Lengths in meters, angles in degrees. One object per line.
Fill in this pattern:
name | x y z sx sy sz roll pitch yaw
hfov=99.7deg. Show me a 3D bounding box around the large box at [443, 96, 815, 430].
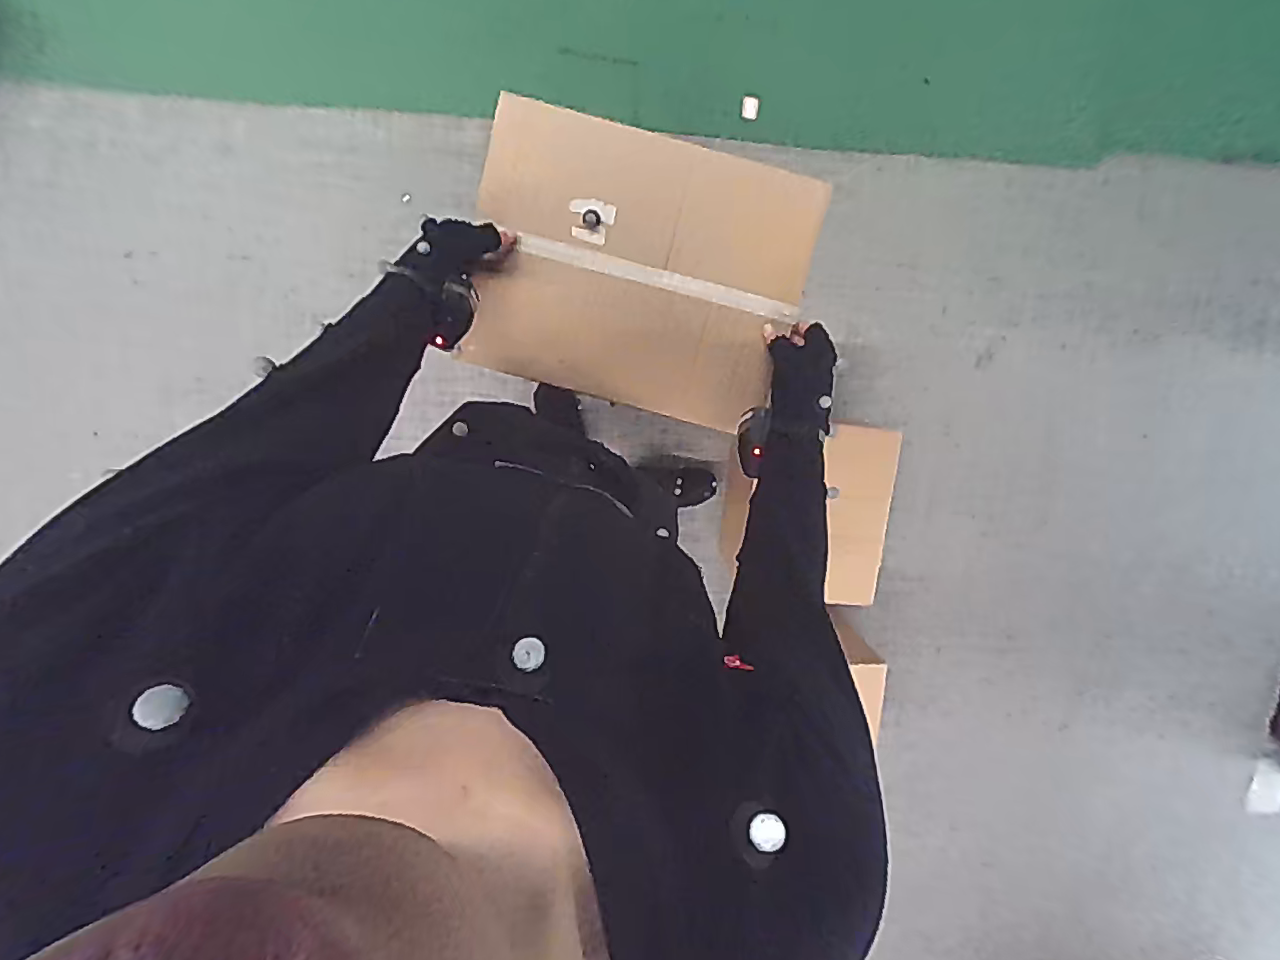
large box | -0.014 -0.283 0.797 0.408 0.320 0.320 15 101 0
